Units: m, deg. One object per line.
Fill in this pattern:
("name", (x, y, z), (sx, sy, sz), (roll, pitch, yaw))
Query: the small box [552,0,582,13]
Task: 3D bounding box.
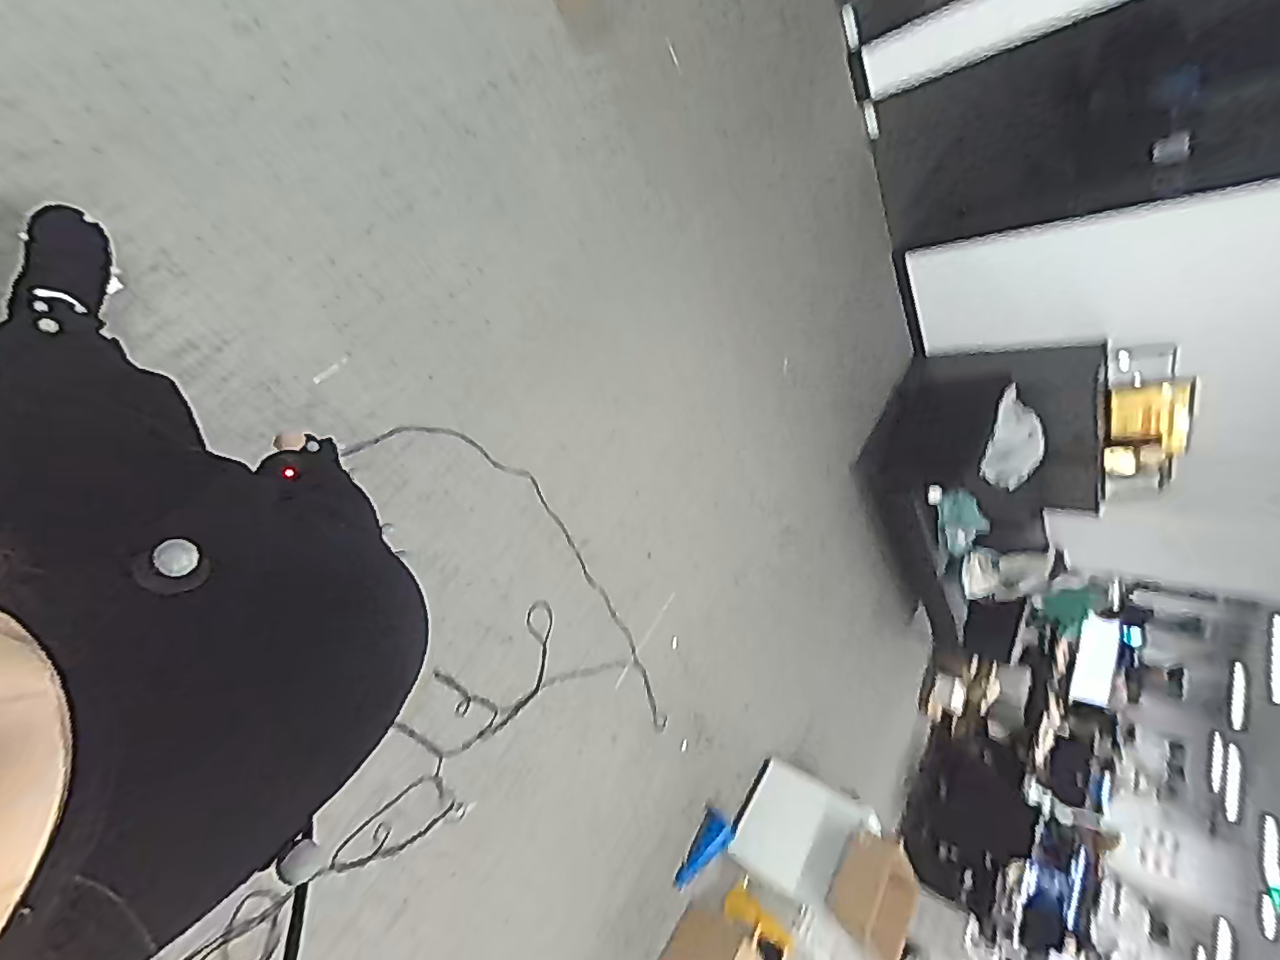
("small box", (-0.191, -1.575, 1.635), (0.168, 0.176, 0.179), (52, 60, -36))
